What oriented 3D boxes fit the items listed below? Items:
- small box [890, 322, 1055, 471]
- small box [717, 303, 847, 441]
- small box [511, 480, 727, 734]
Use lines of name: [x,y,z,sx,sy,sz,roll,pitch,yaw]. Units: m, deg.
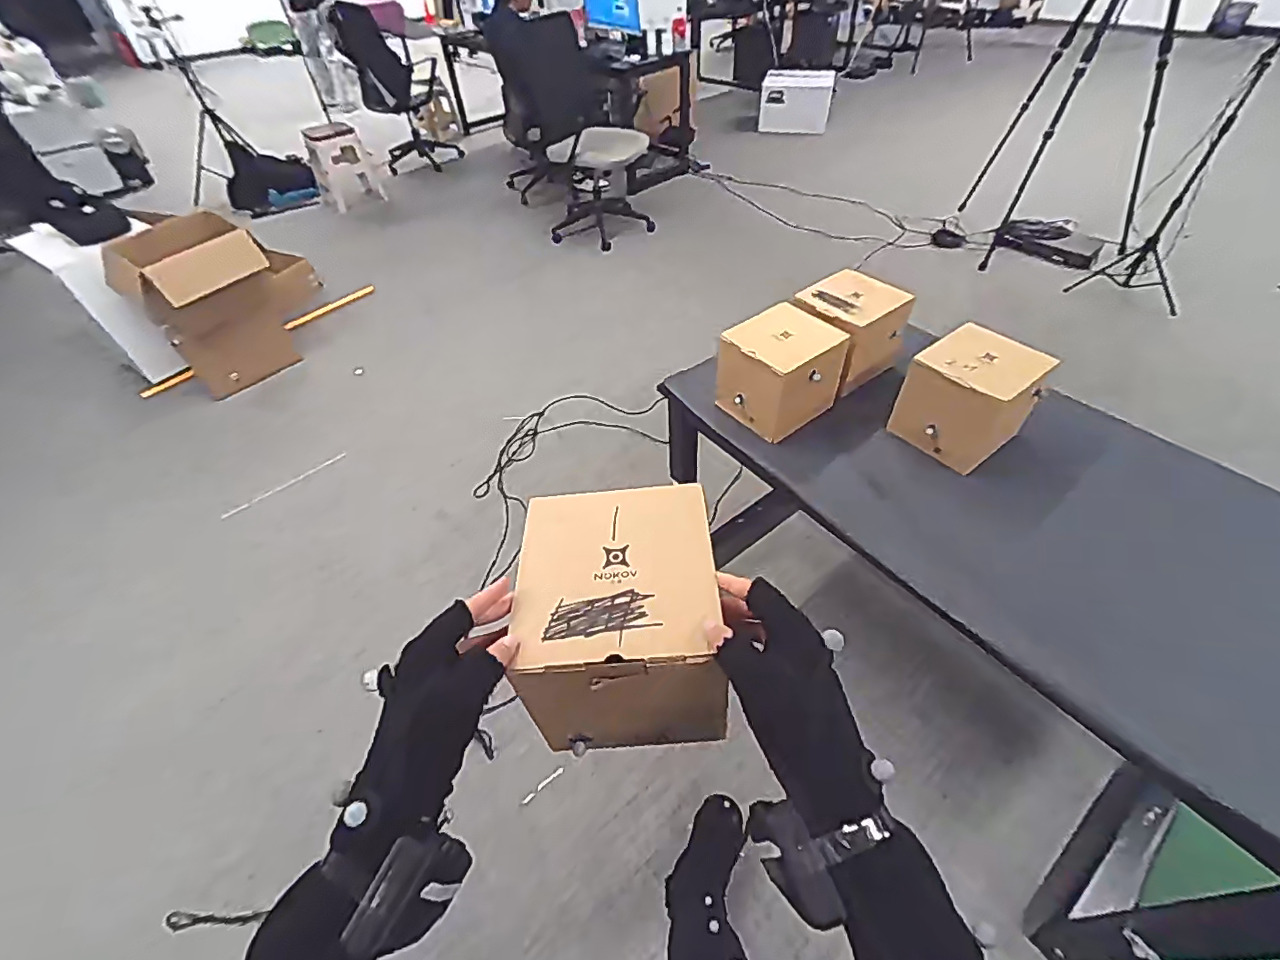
small box: [0.586,-0.151,0.978,0.179,0.176,0.168,-31,53,-22]
small box: [0.265,-0.210,1.053,0.179,0.176,0.168,-31,53,-22]
small box: [-0.009,0.124,0.509,0.168,0.176,0.179,-5,44,2]
